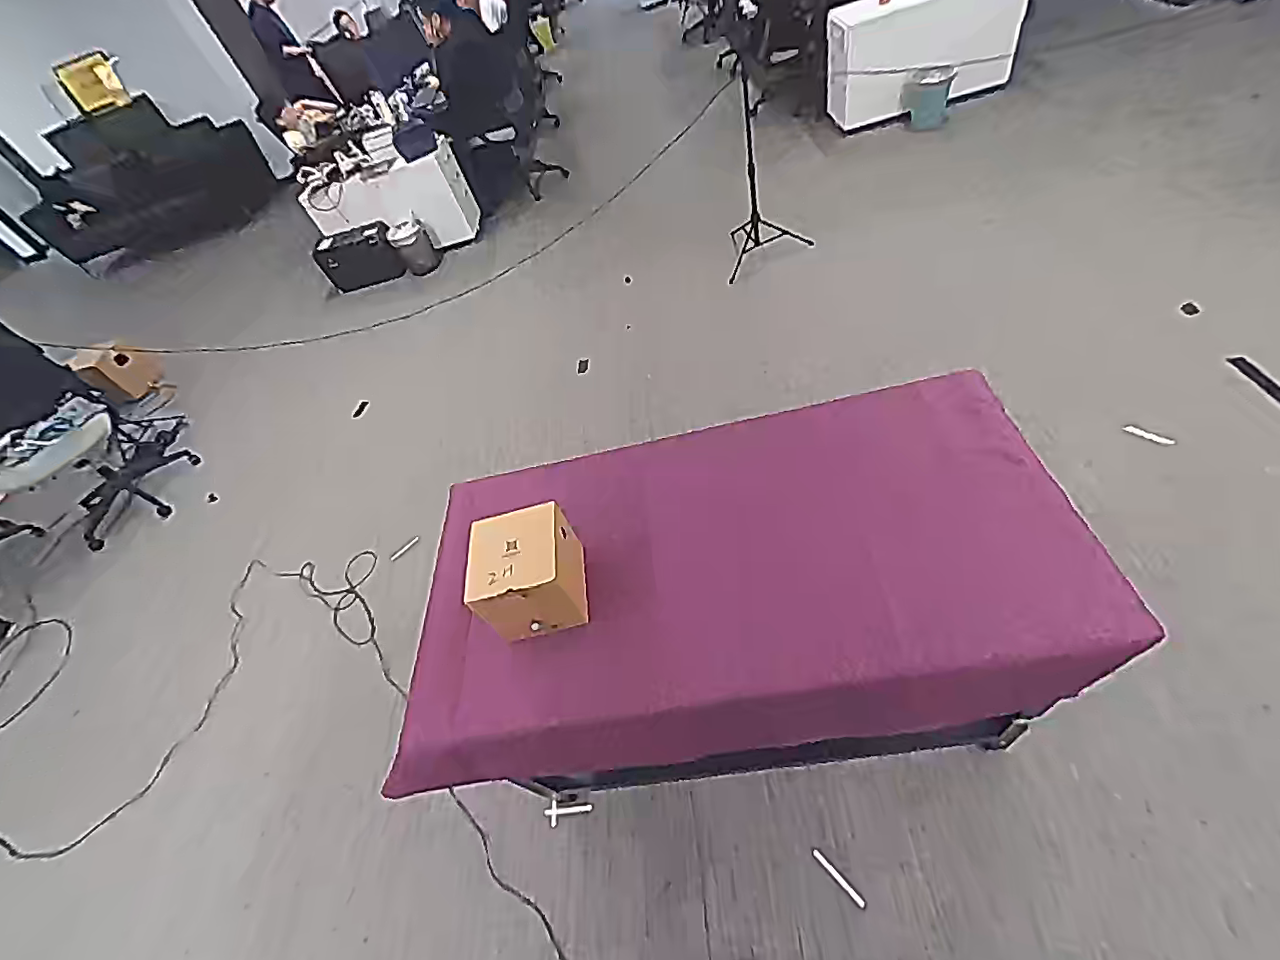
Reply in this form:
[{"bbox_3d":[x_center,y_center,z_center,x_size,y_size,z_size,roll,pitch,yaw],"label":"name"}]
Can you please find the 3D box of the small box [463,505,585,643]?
[{"bbox_3d":[-0.209,0.179,1.012,0.168,0.176,0.179,-15,49,6],"label":"small box"}]
